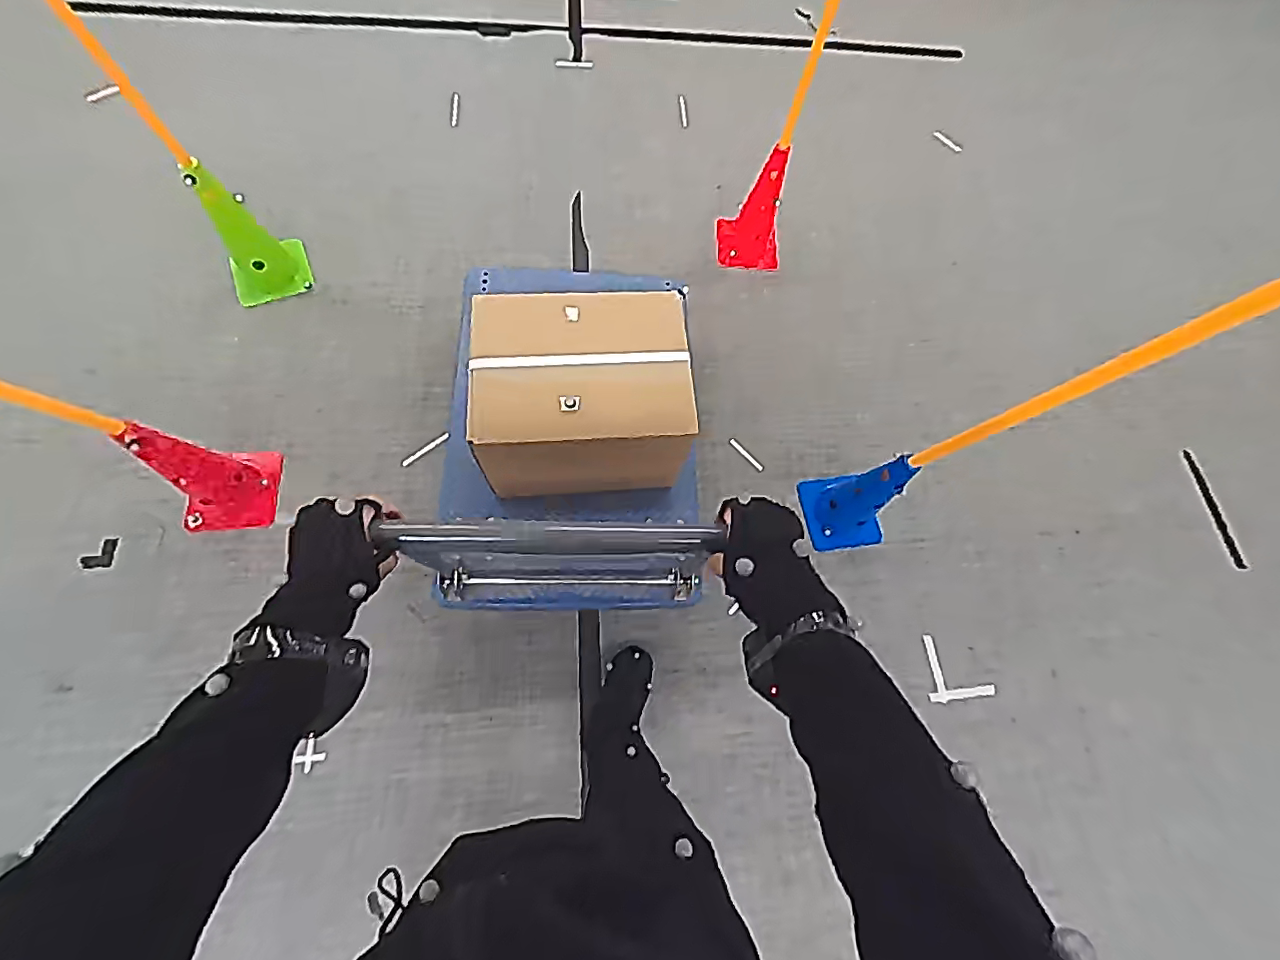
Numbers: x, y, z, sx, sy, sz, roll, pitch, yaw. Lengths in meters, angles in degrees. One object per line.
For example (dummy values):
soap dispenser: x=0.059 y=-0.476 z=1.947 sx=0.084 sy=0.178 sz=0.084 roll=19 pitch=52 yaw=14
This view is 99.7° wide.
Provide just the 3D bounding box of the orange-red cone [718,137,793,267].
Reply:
orange-red cone: x=0.372 y=-0.834 z=1.592 sx=0.199 sy=0.360 sz=0.198 roll=5 pitch=70 yaw=-5

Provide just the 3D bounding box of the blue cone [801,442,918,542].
blue cone: x=0.559 y=0.013 z=1.313 sx=0.193 sy=0.380 sz=0.192 roll=-6 pitch=69 yaw=-8
